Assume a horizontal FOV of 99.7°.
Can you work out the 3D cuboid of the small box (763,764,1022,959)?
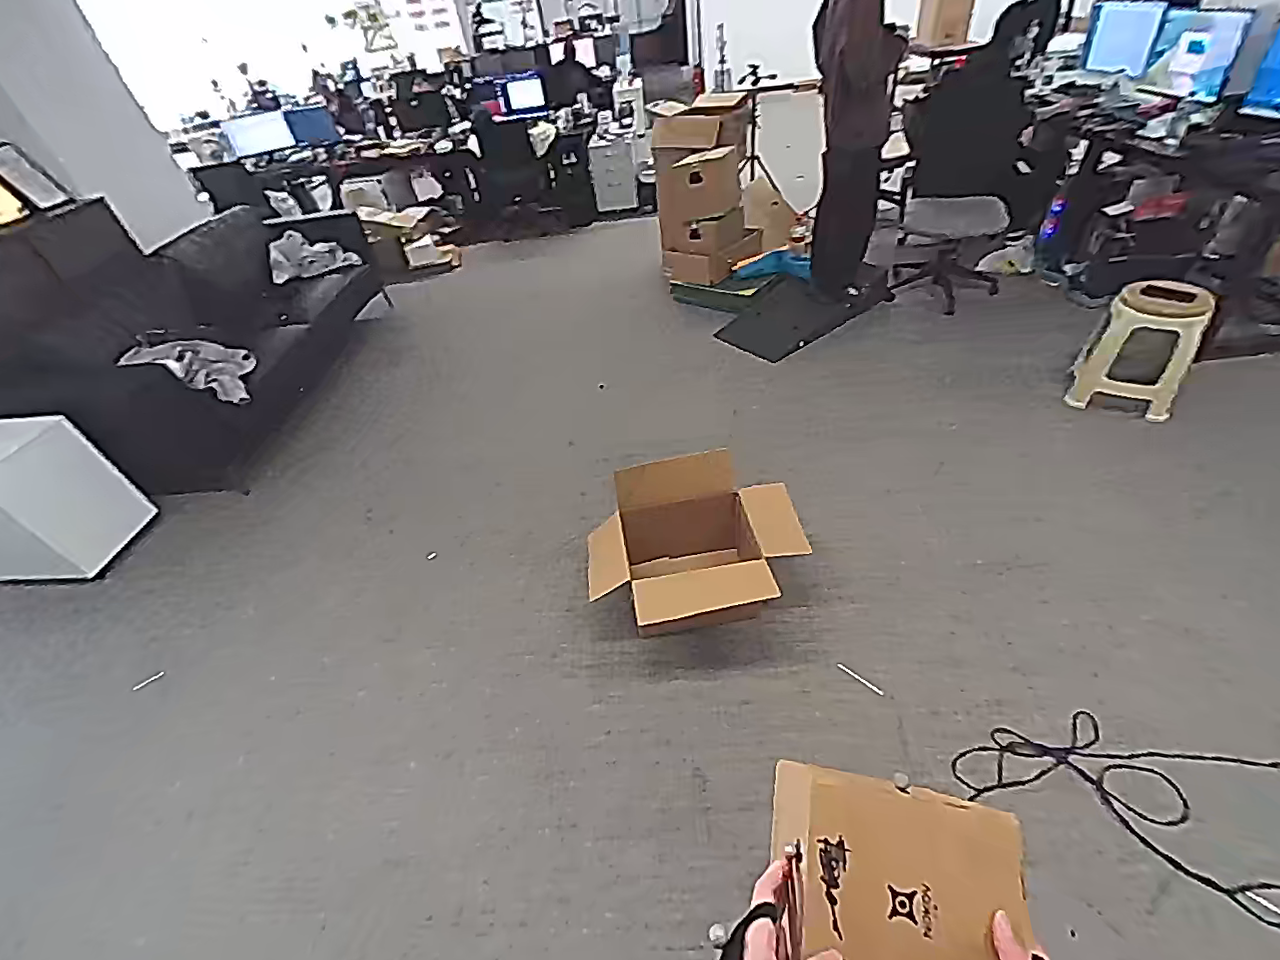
[{"bbox_3d":[0.225,0.381,0.517,0.179,0.176,0.168,8,67,7],"label":"small box"}]
